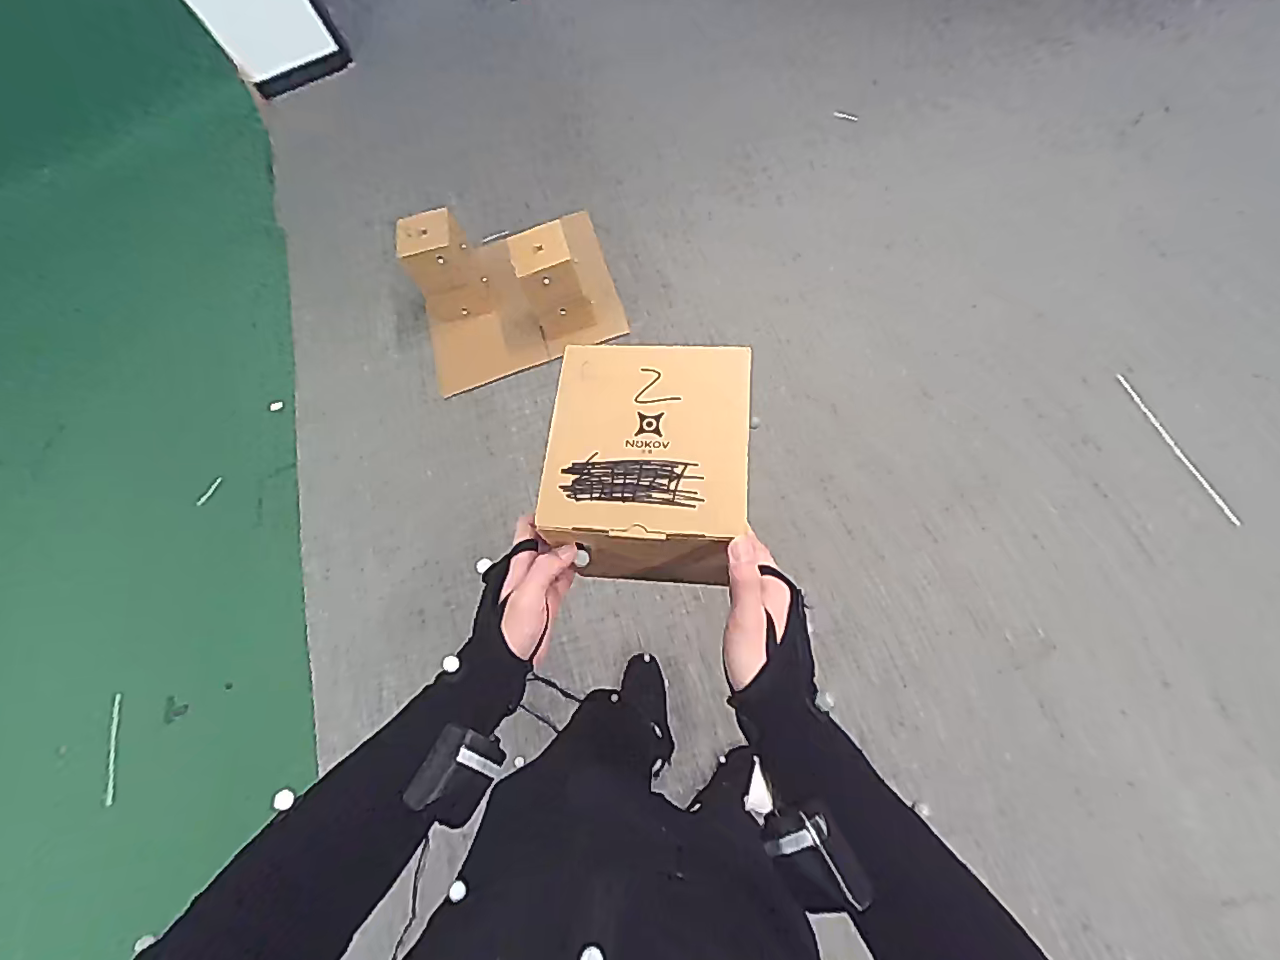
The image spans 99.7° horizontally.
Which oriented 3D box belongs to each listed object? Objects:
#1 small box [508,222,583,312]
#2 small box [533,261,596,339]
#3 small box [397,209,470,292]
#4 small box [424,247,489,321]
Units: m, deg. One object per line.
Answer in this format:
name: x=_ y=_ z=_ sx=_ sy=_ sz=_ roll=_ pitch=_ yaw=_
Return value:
small box: x=-0.288 y=-0.658 z=1.688 sx=0.179 sy=0.176 sz=0.168 roll=-19 pitch=69 yaw=4
small box: x=-0.265 y=-0.609 z=1.840 sx=0.179 sy=0.176 sz=0.168 roll=-18 pitch=68 yaw=3
small box: x=-0.671 y=-0.749 z=1.778 sx=0.179 sy=0.176 sz=0.168 roll=-11 pitch=68 yaw=5
small box: x=-0.649 y=-0.696 z=1.934 sx=0.179 sy=0.176 sz=0.168 roll=-11 pitch=68 yaw=5
